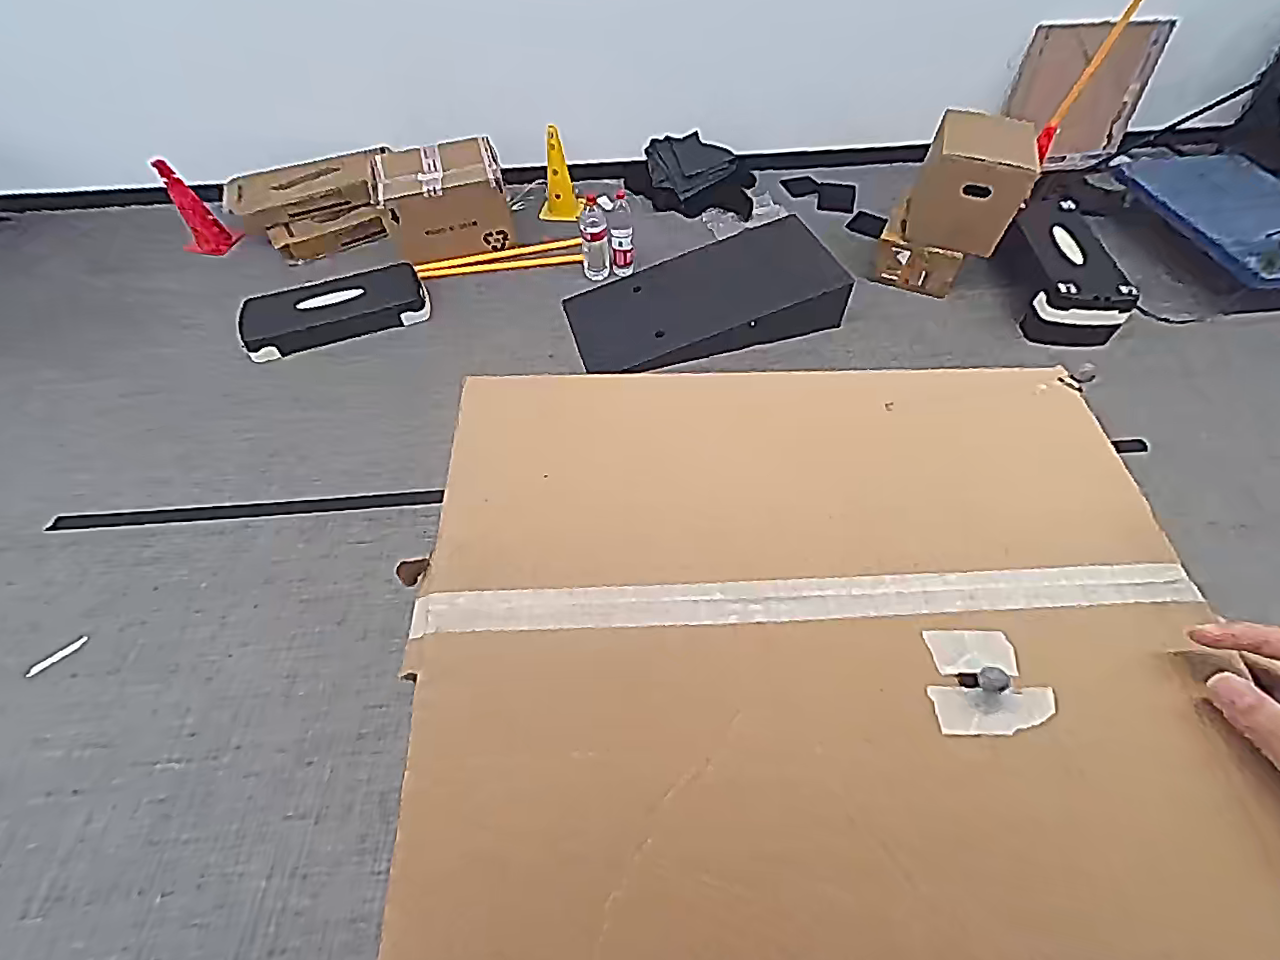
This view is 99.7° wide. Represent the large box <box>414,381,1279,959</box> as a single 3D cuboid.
[{"bbox_3d":[0.090,0.141,0.423,0.408,0.320,0.320,-1,60,-4],"label":"large box"}]
